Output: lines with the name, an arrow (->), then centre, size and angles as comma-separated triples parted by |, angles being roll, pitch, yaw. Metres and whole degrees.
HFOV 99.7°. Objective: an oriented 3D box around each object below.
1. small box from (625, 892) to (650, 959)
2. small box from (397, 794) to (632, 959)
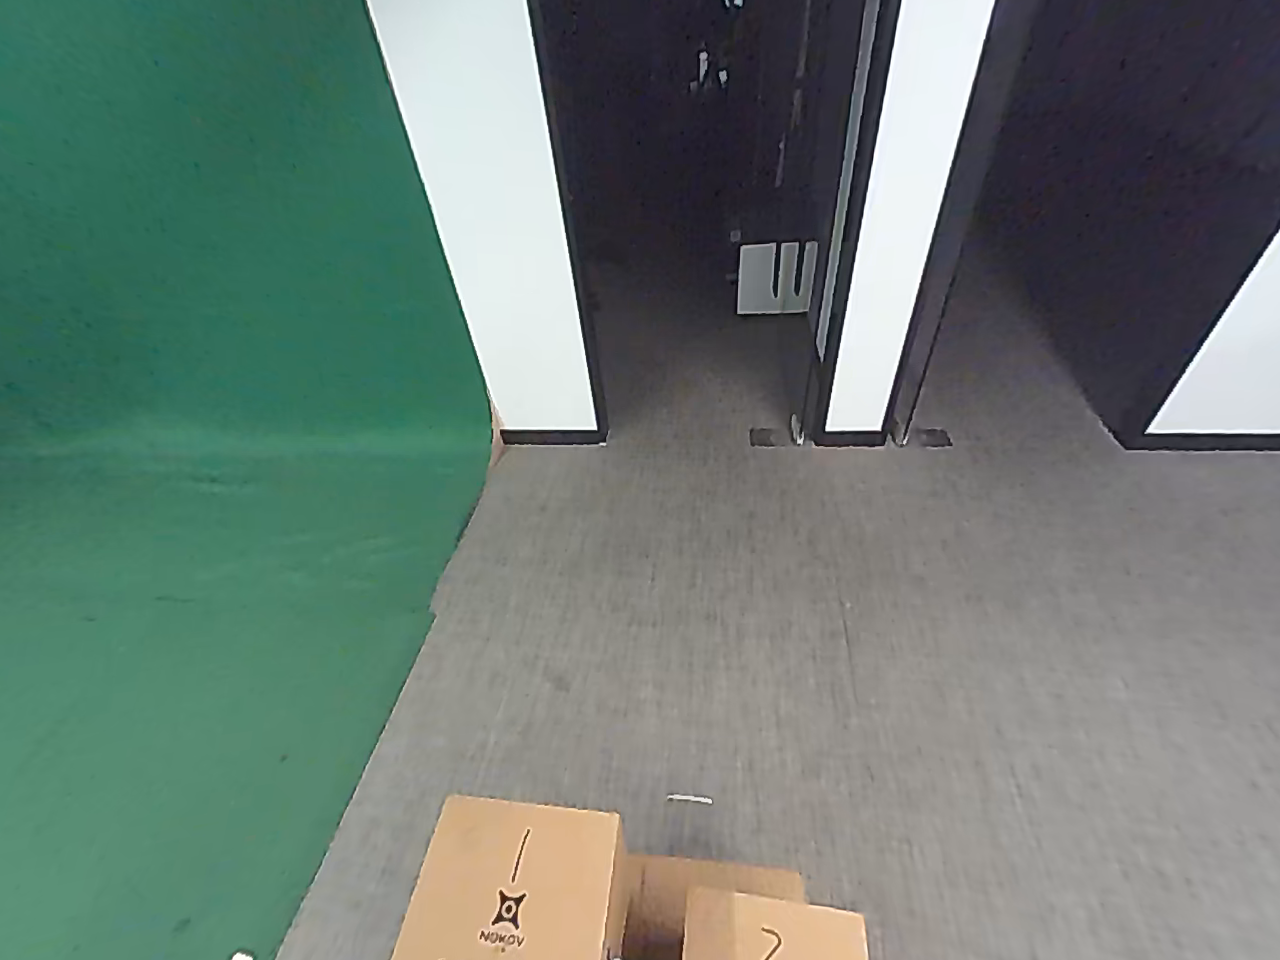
small box -> -0.079, 0.655, 0.710 | 0.168, 0.176, 0.179 | 3, 43, 8
small box -> -0.100, 0.414, 0.487 | 0.168, 0.176, 0.179 | 2, 42, 6
